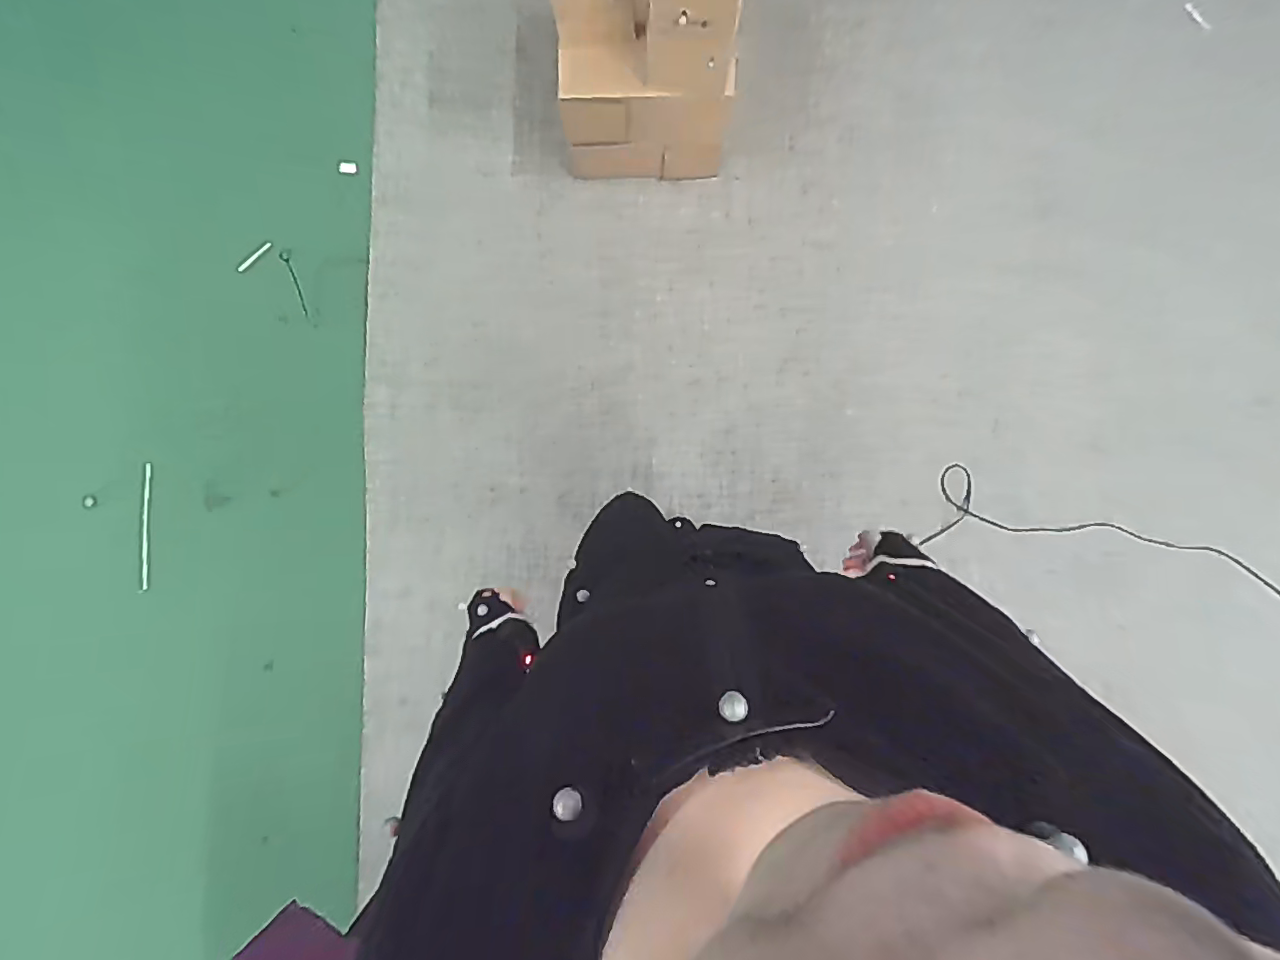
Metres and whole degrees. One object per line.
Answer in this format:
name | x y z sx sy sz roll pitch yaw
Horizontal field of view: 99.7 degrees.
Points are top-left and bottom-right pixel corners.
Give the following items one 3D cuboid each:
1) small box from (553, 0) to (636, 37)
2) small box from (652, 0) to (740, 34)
small box | -0.096 -1.084 1.143 0.179 0.176 0.168 0 87 2
small box | 0.111 -0.957 0.964 0.168 0.176 0.179 9 89 3
